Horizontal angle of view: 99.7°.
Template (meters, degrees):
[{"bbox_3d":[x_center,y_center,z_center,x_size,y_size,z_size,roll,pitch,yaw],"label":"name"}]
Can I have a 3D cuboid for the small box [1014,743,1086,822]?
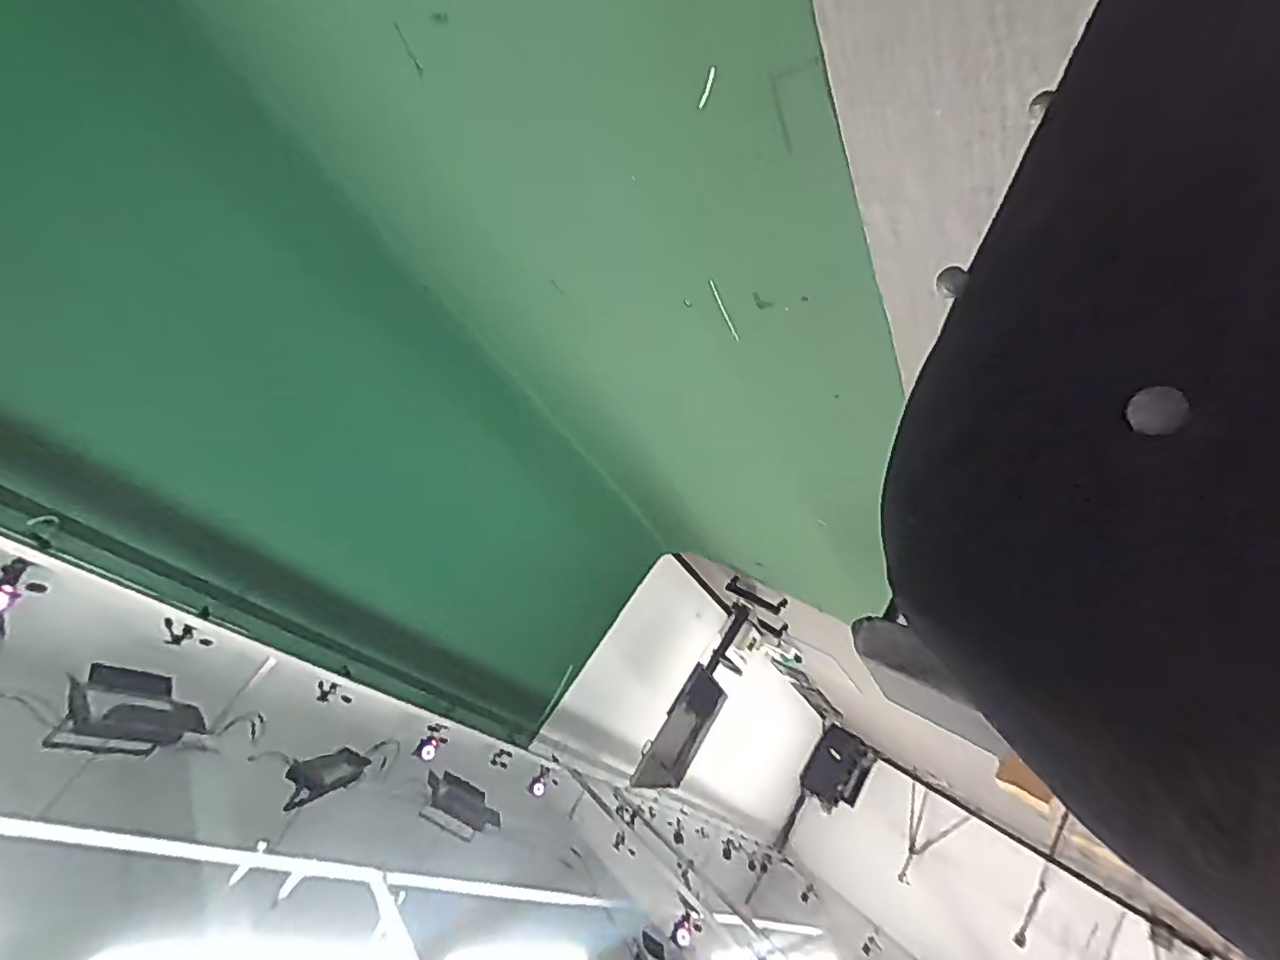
[{"bbox_3d":[1.448,1.063,1.911,0.168,0.176,0.179,20,158,45],"label":"small box"}]
